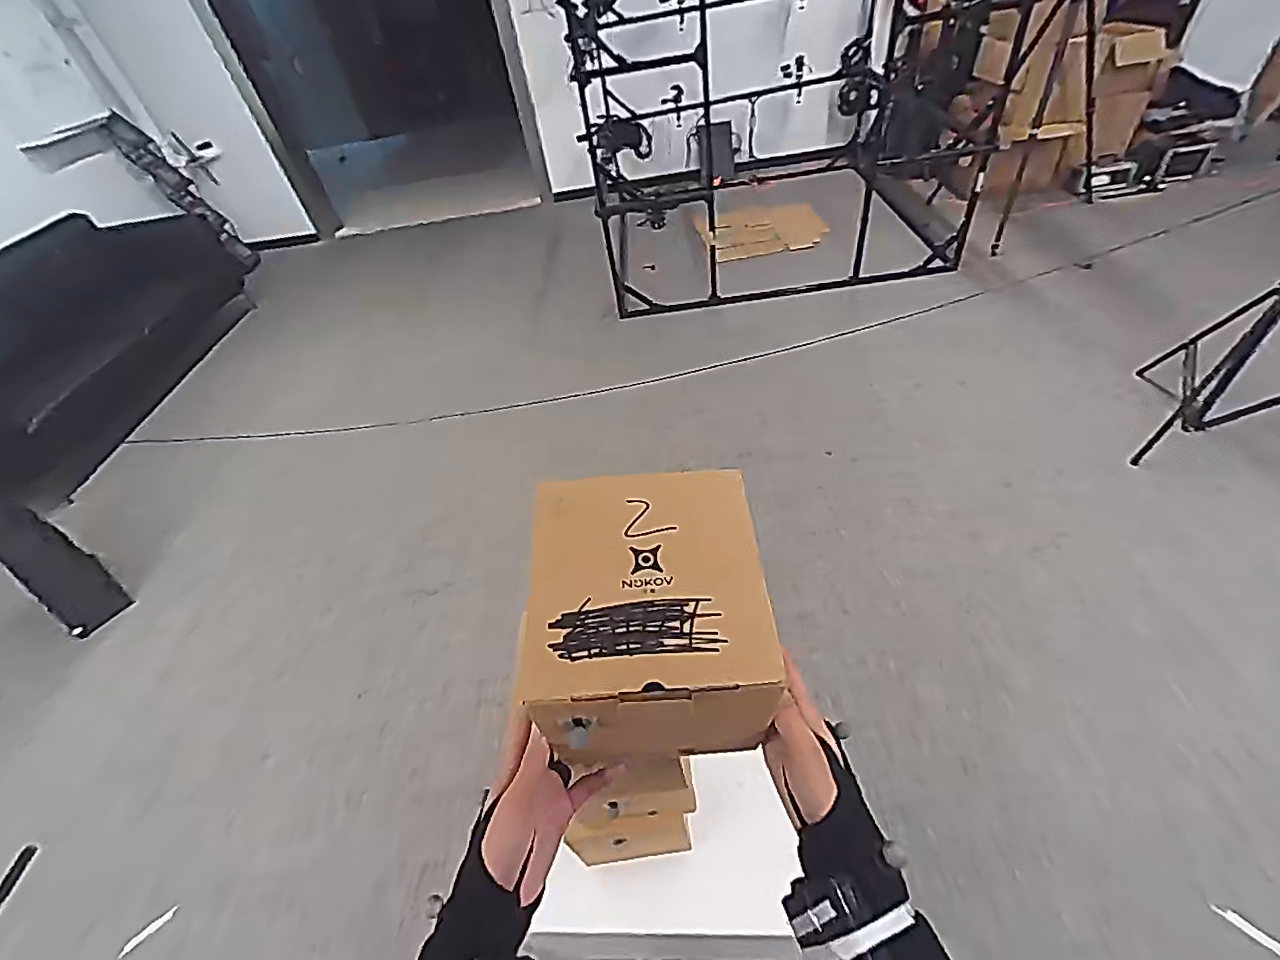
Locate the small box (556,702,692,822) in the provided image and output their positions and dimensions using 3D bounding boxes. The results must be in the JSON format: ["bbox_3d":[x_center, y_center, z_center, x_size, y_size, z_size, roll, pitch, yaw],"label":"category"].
[{"bbox_3d":[-0.021,0.370,0.775,0.168,0.176,0.179,-9,43,2],"label":"small box"}]

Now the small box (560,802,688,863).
[{"bbox_3d":[-0.025,0.499,0.878,0.179,0.176,0.168,-9,44,1],"label":"small box"}]

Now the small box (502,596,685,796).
[{"bbox_3d":[-0.046,0.263,0.651,0.179,0.176,0.168,-7,44,4],"label":"small box"}]
